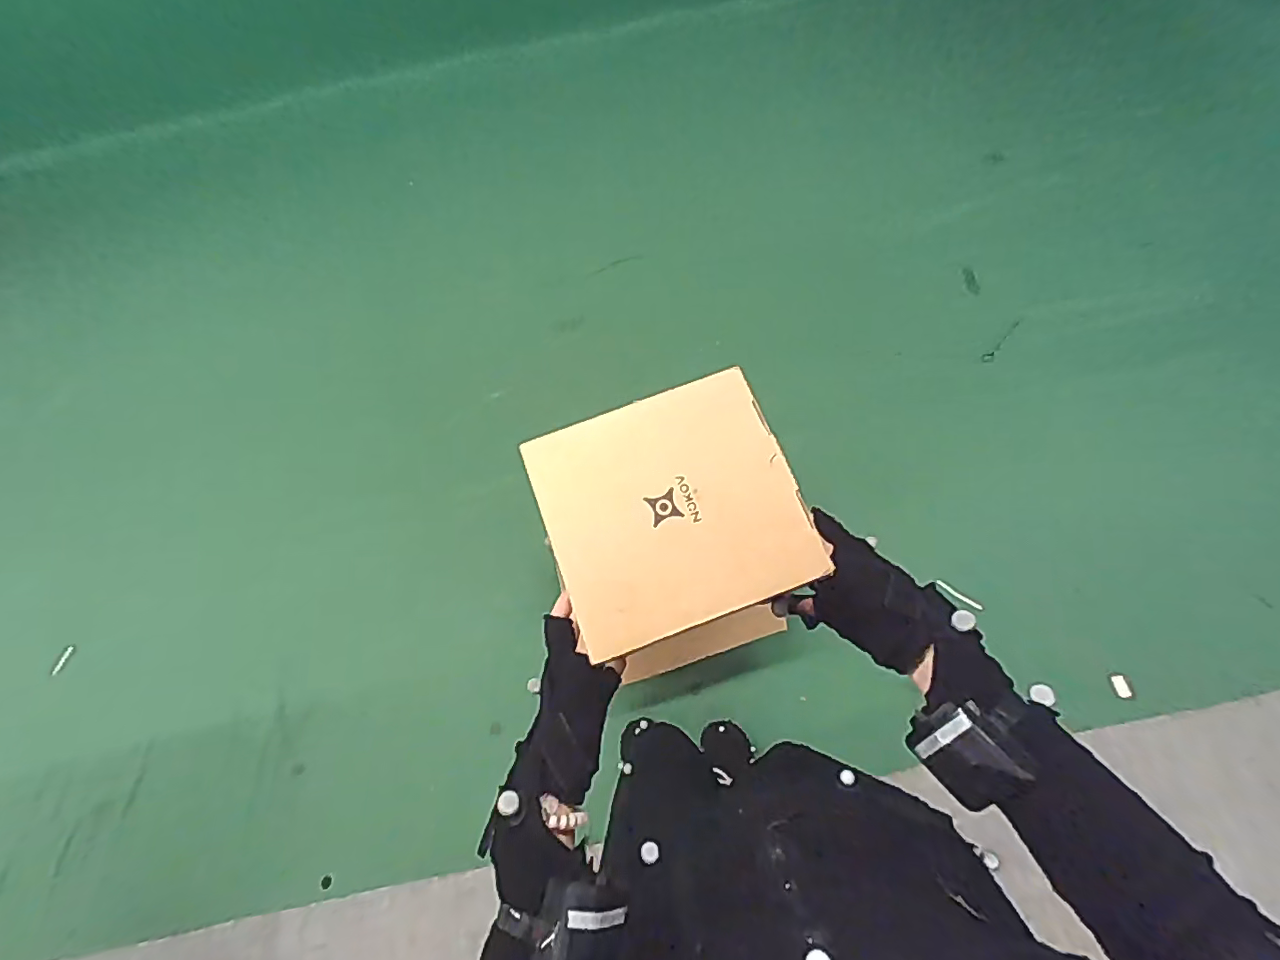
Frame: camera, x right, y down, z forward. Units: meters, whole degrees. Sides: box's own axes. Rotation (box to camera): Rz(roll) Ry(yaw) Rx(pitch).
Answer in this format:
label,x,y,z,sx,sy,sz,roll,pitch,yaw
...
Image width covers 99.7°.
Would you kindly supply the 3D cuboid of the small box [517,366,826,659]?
label,x,y,z,sx,sy,sz,roll,pitch,yaw
small box,0.022,0.040,0.451,0.179,0.176,0.168,-21,73,-3
